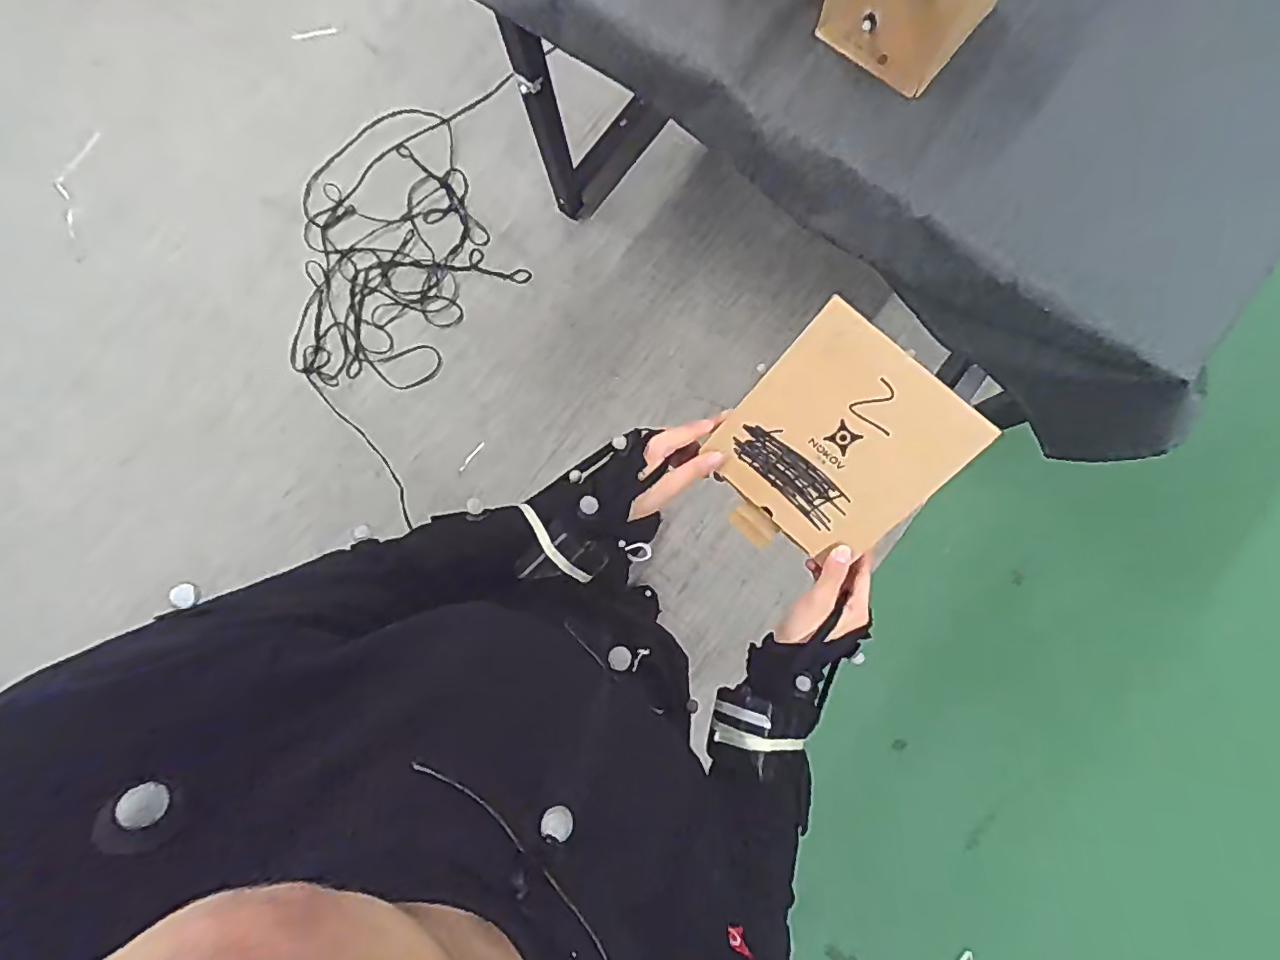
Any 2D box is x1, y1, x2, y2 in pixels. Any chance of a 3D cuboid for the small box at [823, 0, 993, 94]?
[{"bbox_3d":[0.349,-0.628,0.647,0.168,0.176,0.179,39,87,7],"label":"small box"}]
